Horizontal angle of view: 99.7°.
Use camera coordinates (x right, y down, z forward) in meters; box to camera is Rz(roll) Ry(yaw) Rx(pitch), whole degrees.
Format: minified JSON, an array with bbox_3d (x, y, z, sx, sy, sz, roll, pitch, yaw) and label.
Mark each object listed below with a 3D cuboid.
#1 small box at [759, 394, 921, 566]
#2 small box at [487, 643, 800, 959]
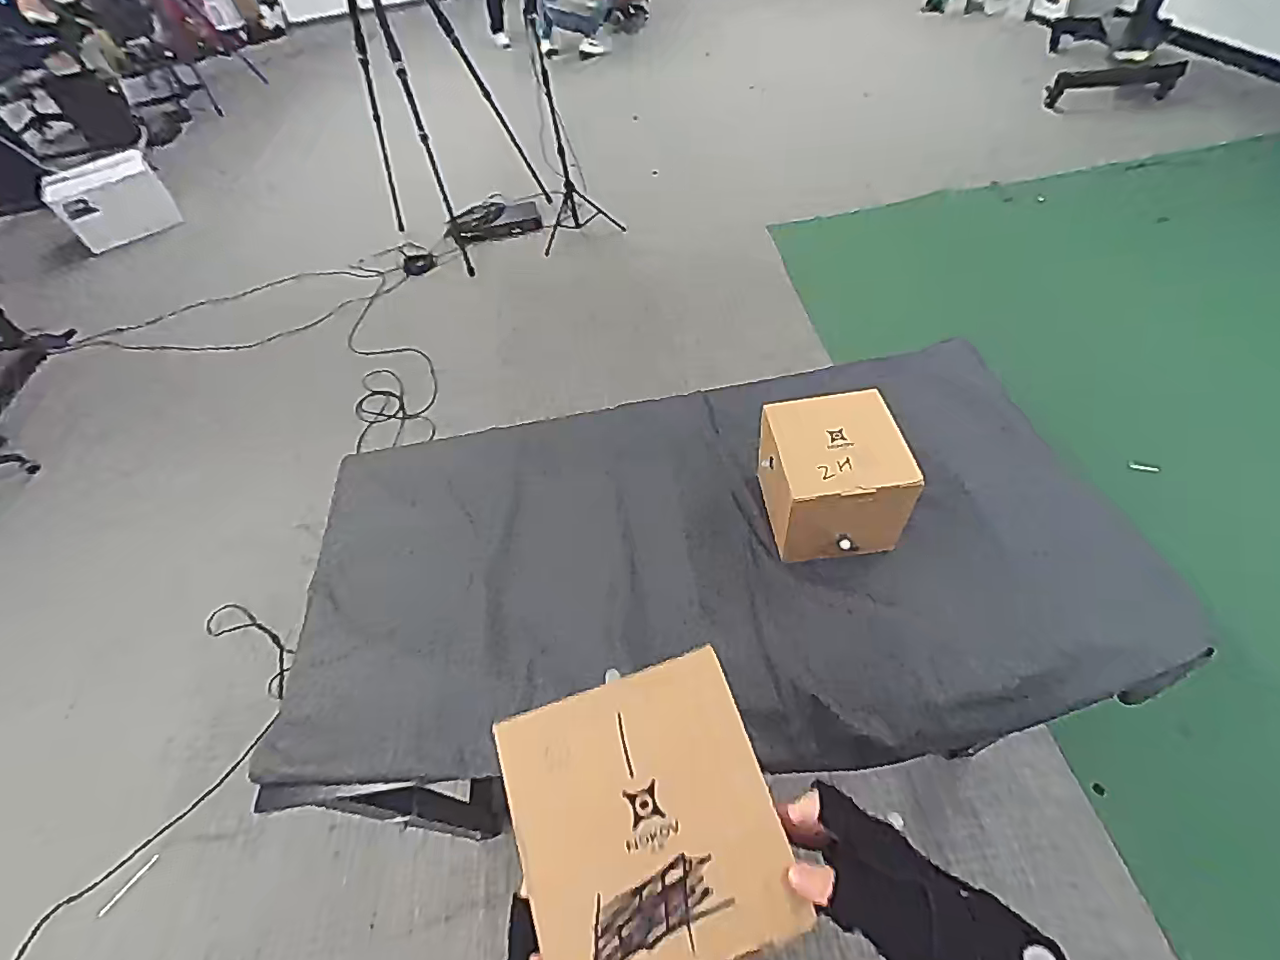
[{"bbox_3d":[0.272,0.003,0.787,0.168,0.176,0.179,-8,52,3],"label":"small box"},{"bbox_3d":[-0.003,0.247,0.425,0.168,0.176,0.179,-17,67,-9],"label":"small box"}]
